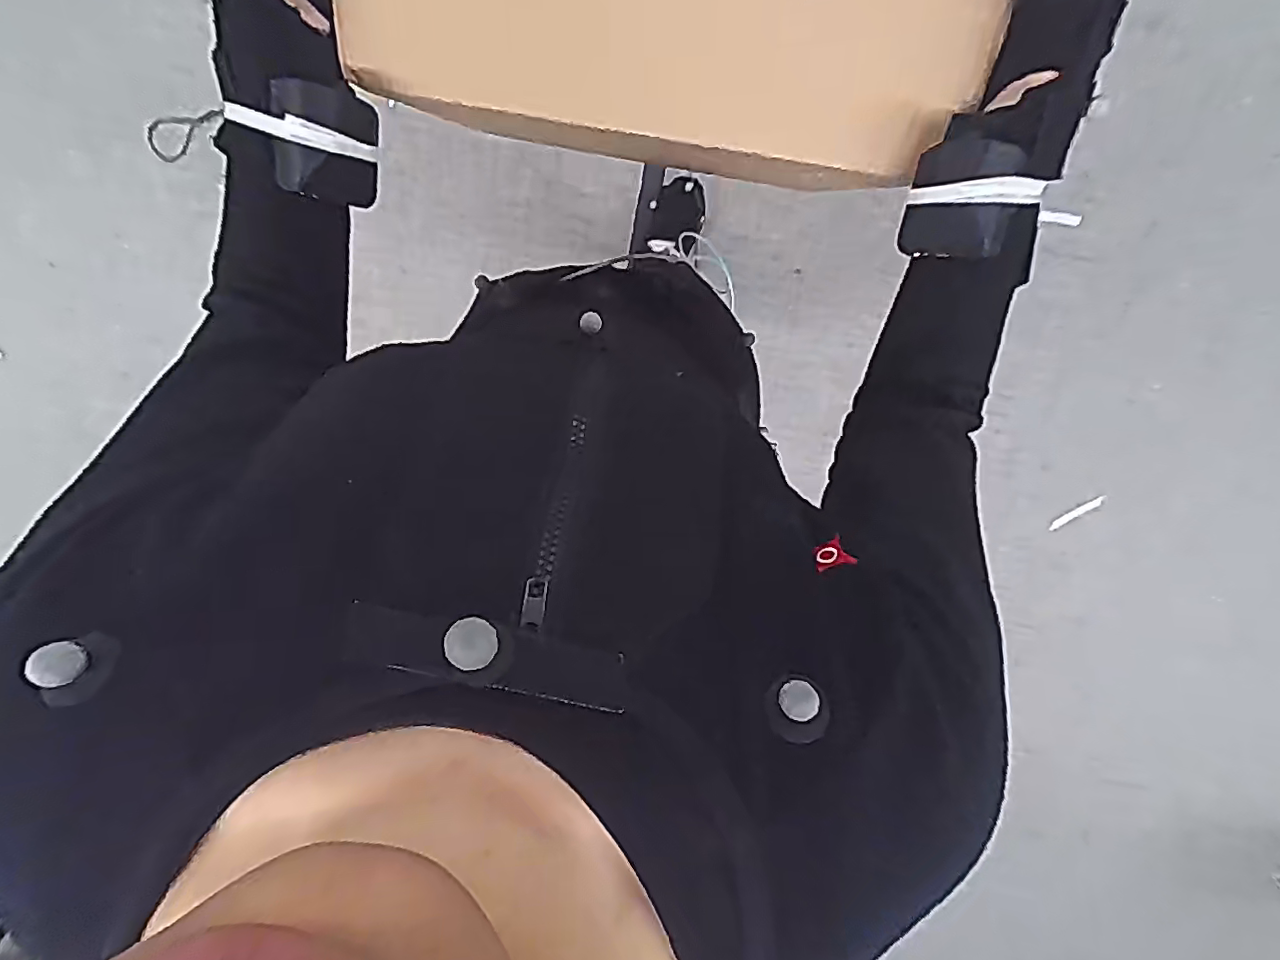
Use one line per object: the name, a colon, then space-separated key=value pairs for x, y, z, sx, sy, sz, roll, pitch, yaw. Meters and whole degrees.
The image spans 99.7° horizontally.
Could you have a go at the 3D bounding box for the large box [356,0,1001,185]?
large box: x=0.033 y=-0.435 z=0.428 sx=0.408 sy=0.320 sz=0.320 roll=7 pitch=118 yaw=-3
